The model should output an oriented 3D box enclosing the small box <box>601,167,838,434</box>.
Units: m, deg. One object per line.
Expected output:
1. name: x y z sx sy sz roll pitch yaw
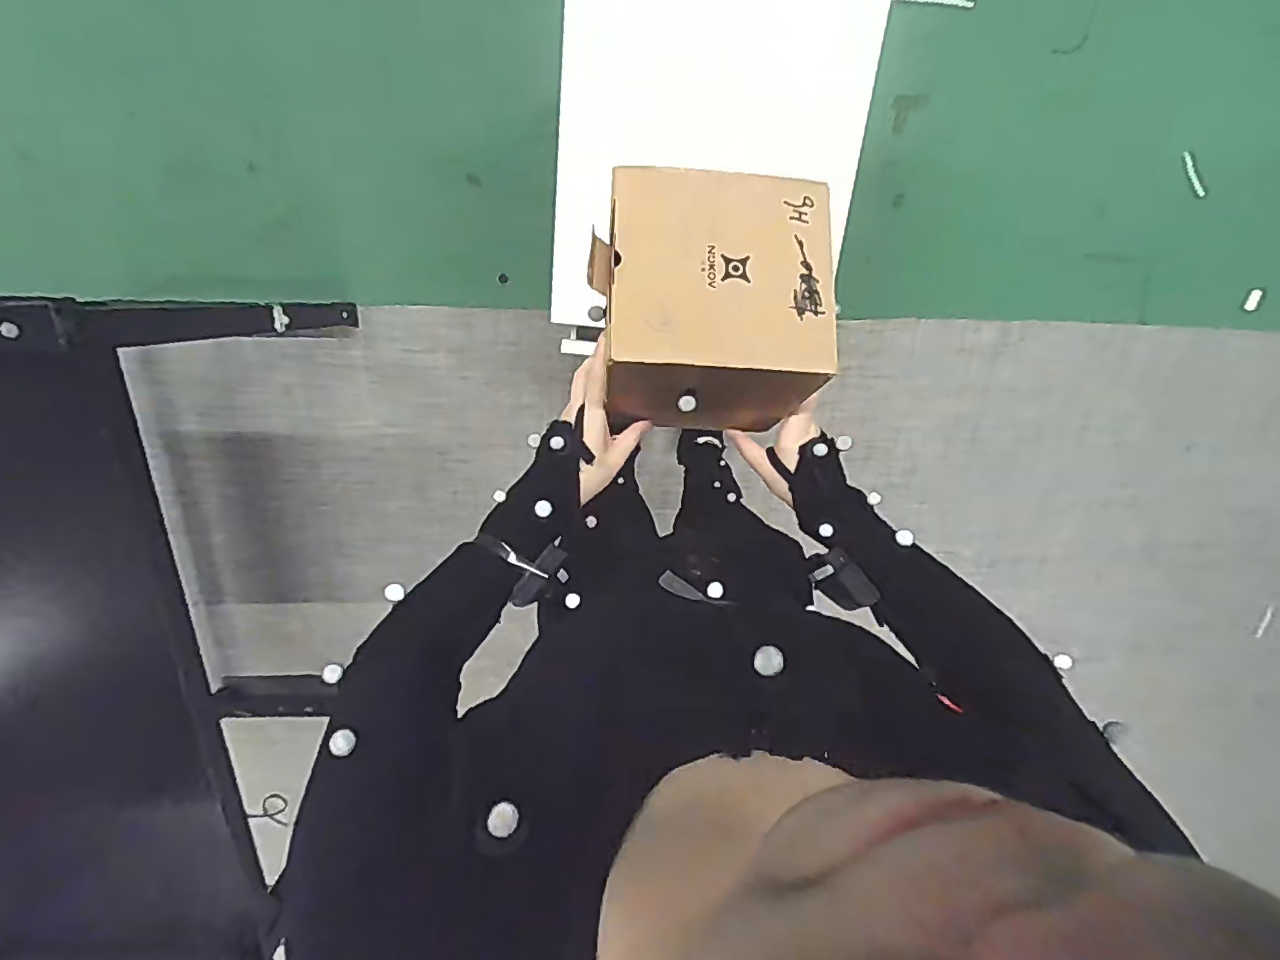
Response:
1. small box: 0.056 -0.143 0.485 0.179 0.176 0.168 2 79 -4
